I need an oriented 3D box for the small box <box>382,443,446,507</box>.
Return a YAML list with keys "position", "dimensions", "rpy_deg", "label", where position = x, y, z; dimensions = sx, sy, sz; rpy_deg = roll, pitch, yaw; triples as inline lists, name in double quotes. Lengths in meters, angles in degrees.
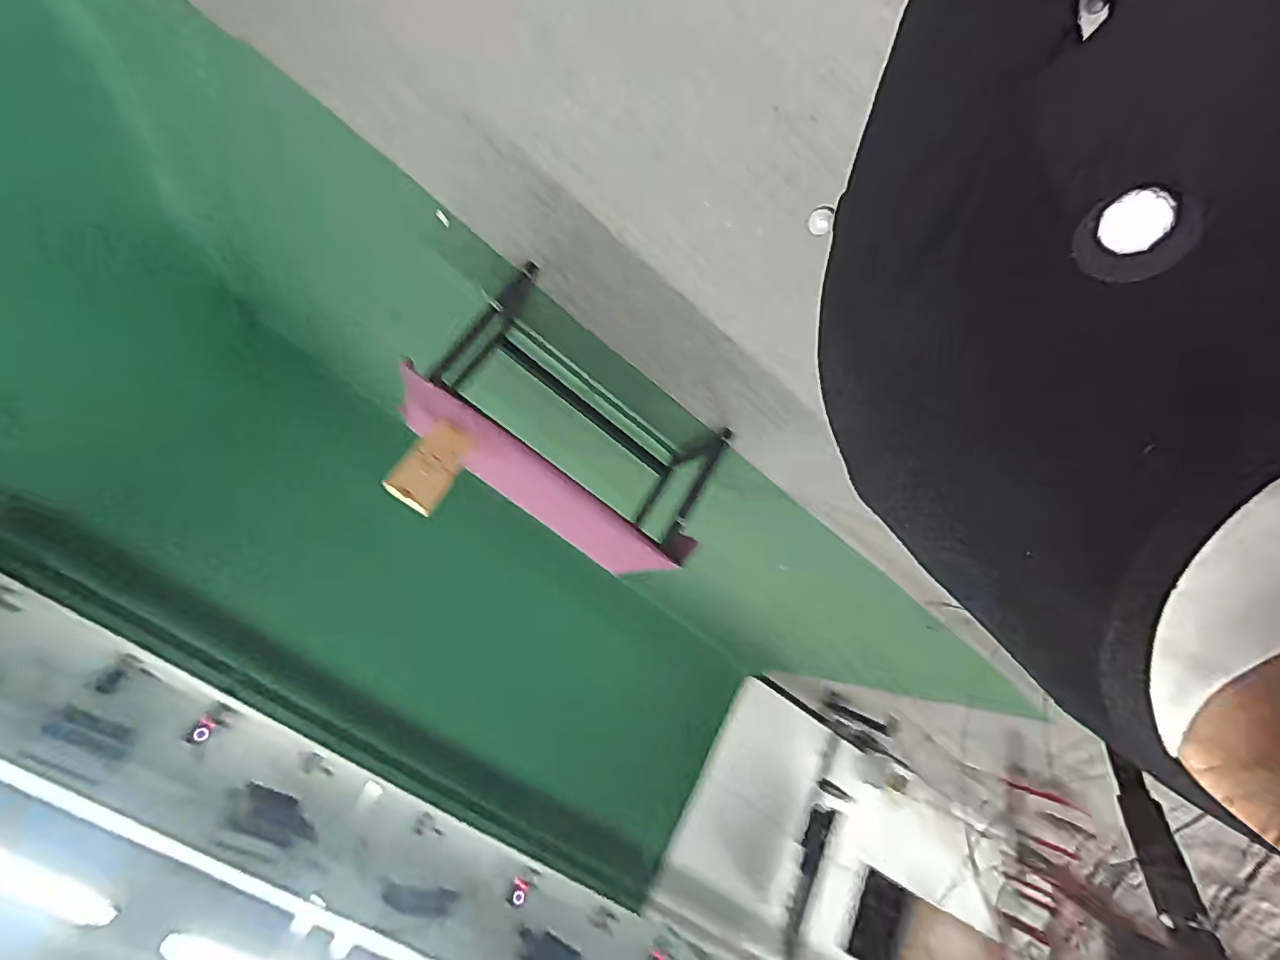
- position: [-0.878, -0.017, 2.112]
  dimensions: [0.168, 0.176, 0.179]
  rpy_deg: [36, 157, -11]
  label: "small box"
